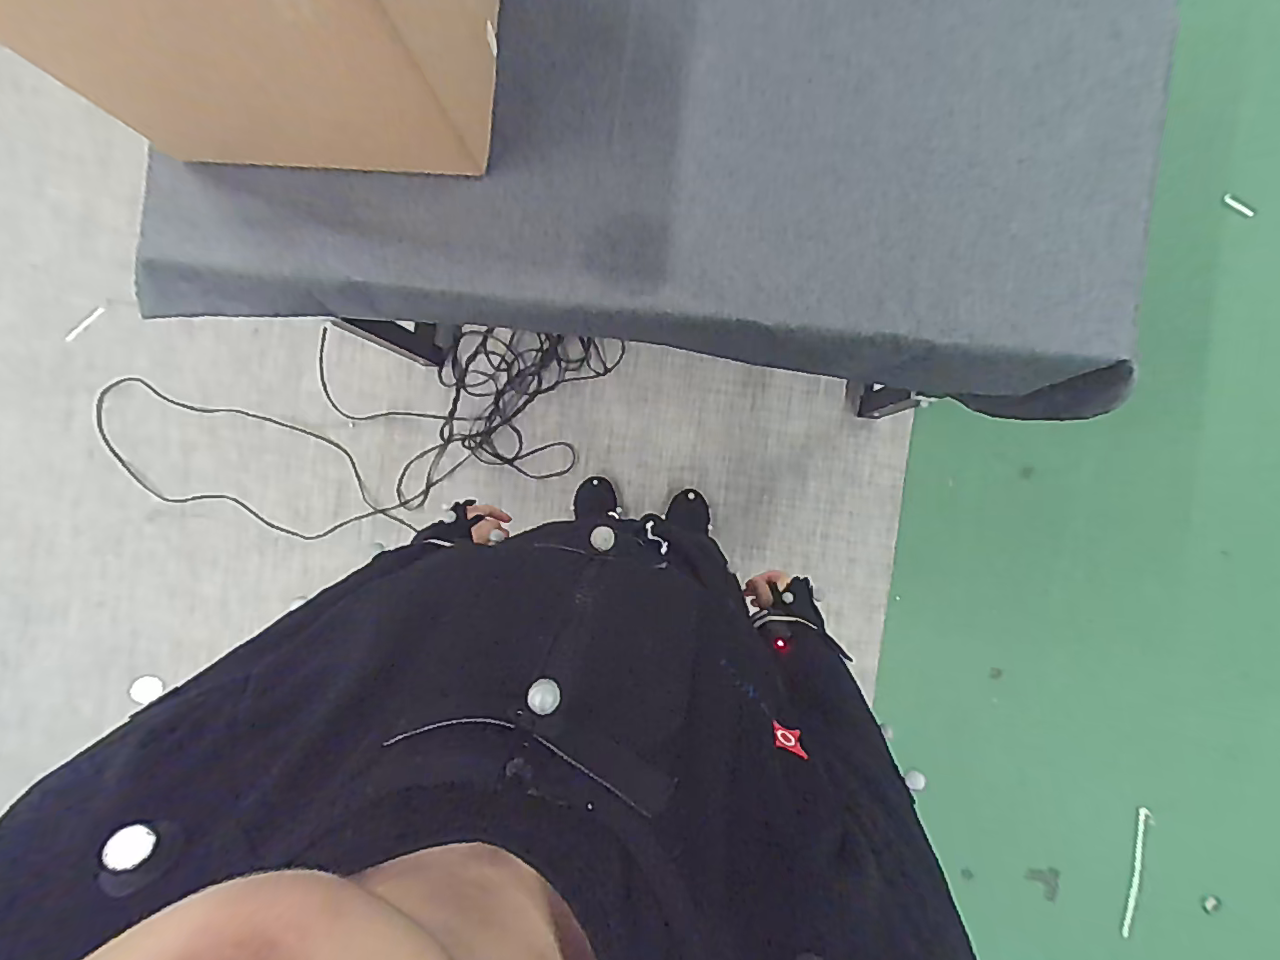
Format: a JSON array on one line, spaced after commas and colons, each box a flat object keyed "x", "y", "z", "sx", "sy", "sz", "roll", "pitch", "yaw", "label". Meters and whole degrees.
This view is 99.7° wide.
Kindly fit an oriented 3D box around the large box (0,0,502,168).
[{"x": -0.376, "y": -0.541, "z": 0.523, "sx": 0.408, "sy": 0.320, "sz": 0.320, "roll": 4, "pitch": 90, "yaw": 2, "label": "large box"}]
